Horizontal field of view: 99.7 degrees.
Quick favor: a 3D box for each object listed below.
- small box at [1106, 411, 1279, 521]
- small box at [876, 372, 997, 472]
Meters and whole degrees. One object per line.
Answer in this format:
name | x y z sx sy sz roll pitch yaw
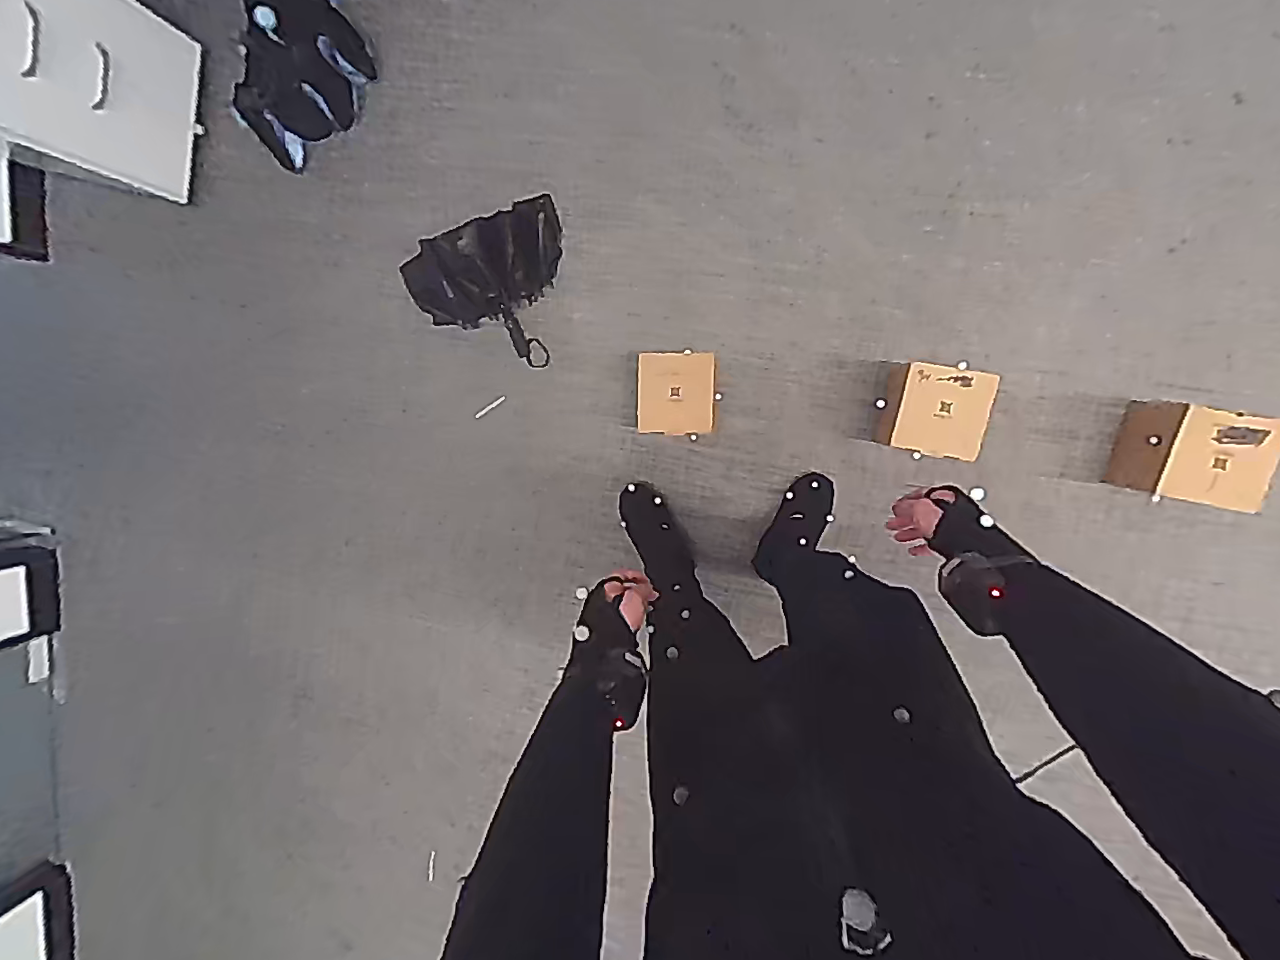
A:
small box | 1.080 -0.035 1.071 0.168 0.176 0.179 13 100 11
small box | 0.621 -0.126 1.159 0.168 0.176 0.179 12 99 10
